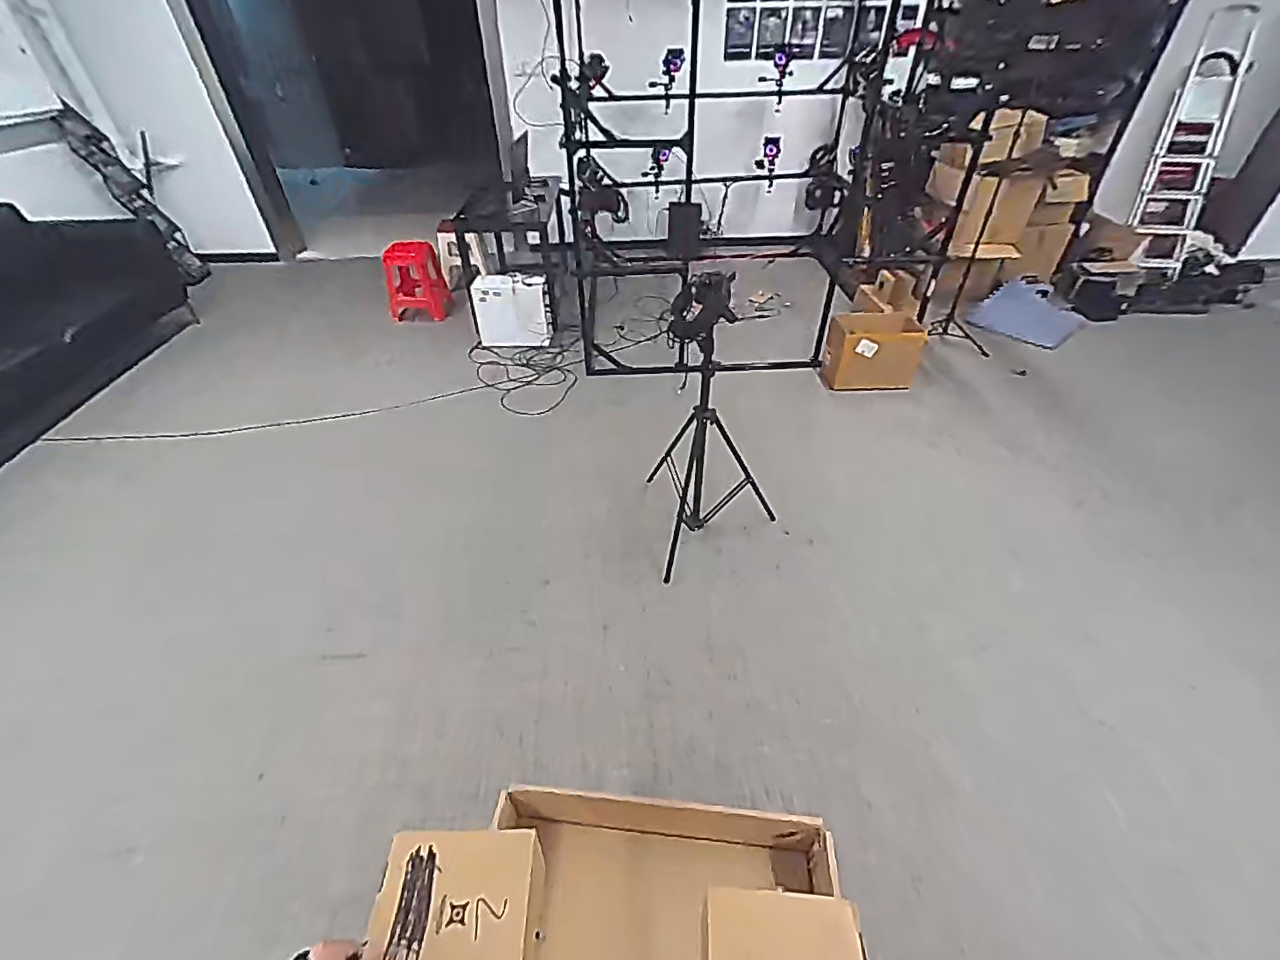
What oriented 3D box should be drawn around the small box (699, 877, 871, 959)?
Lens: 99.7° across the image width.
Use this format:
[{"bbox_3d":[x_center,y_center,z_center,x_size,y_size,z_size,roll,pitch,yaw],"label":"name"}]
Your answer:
[{"bbox_3d":[0.161,0.590,0.626,0.179,0.176,0.168,3,40,4],"label":"small box"}]
